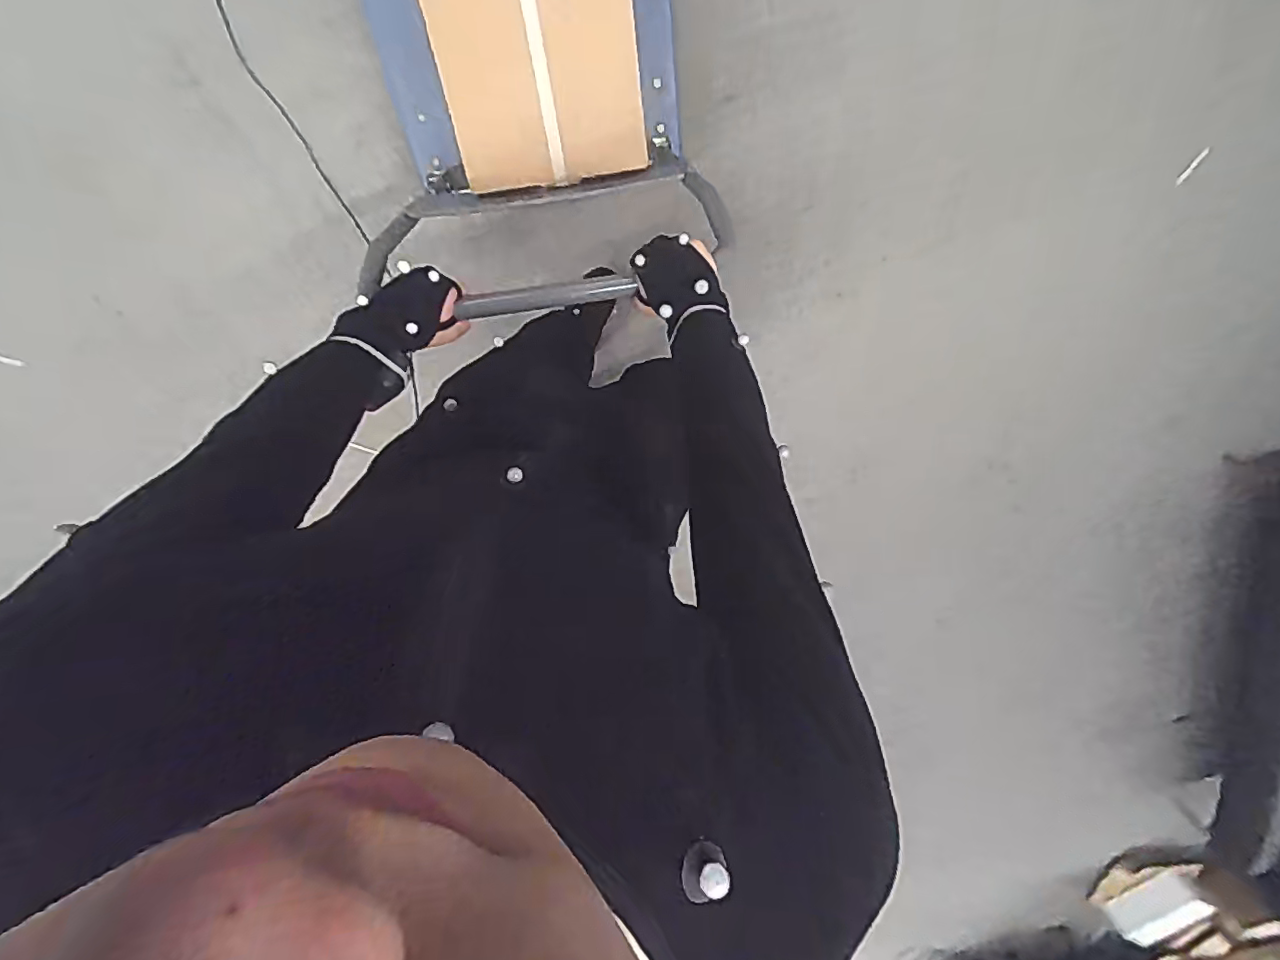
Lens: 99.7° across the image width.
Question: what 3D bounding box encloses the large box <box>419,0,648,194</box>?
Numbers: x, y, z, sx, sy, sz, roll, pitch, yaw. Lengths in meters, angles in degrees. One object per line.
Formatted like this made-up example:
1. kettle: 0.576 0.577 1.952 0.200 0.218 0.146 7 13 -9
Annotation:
1. large box: -0.178 -0.764 0.953 0.320 0.320 0.408 -10 124 -1
